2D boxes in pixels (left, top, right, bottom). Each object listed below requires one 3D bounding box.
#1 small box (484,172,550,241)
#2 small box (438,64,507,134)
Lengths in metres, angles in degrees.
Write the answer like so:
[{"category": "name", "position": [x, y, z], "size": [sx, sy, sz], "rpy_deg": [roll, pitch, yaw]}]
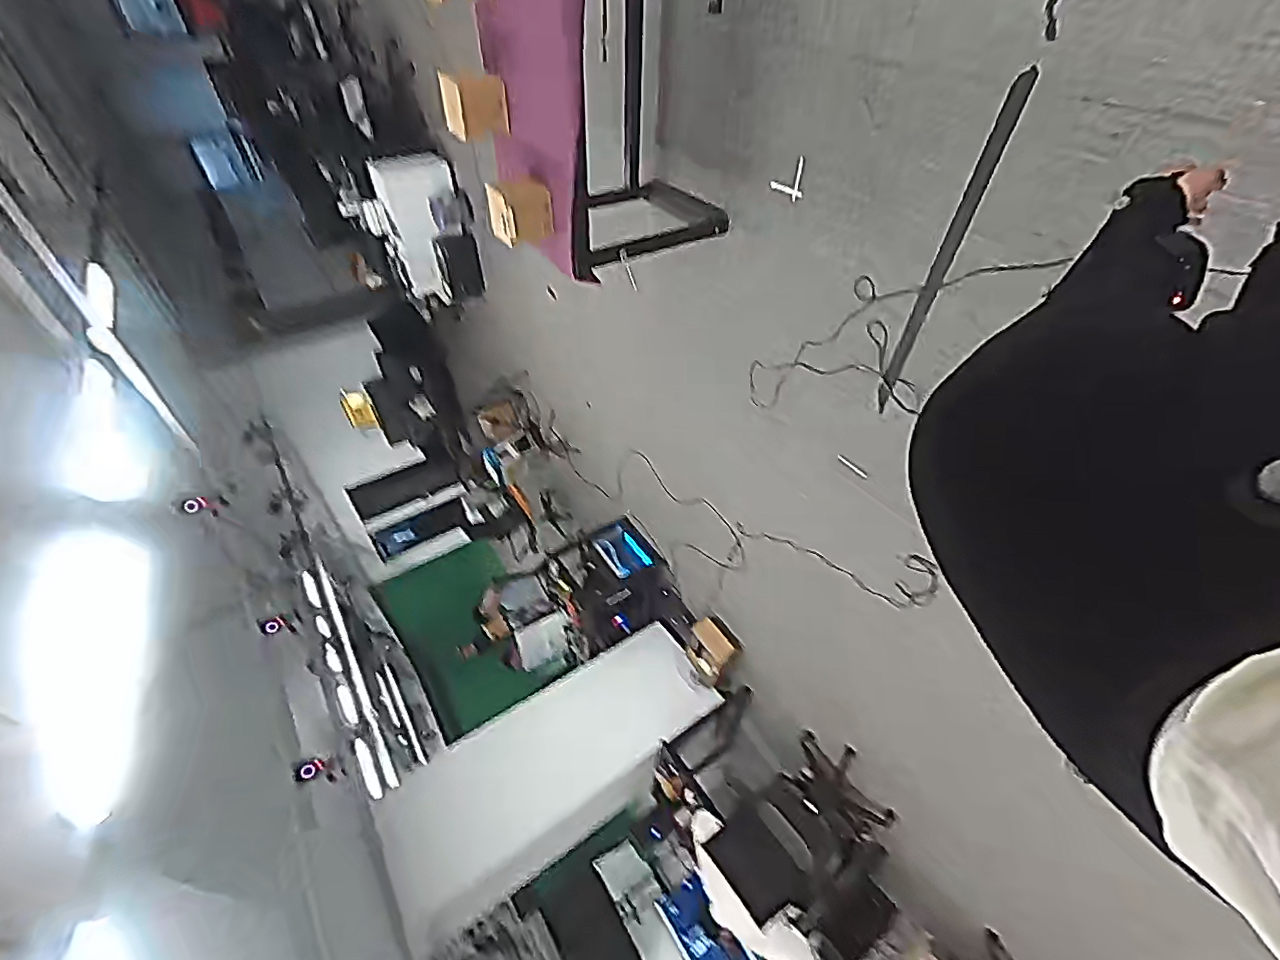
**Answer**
[{"category": "small box", "position": [-0.426, -0.972, 1.911], "size": [0.179, 0.176, 0.168], "rpy_deg": [48, 150, 36]}, {"category": "small box", "position": [-0.577, -1.328, 1.877], "size": [0.179, 0.176, 0.168], "rpy_deg": [48, 150, 32]}]
